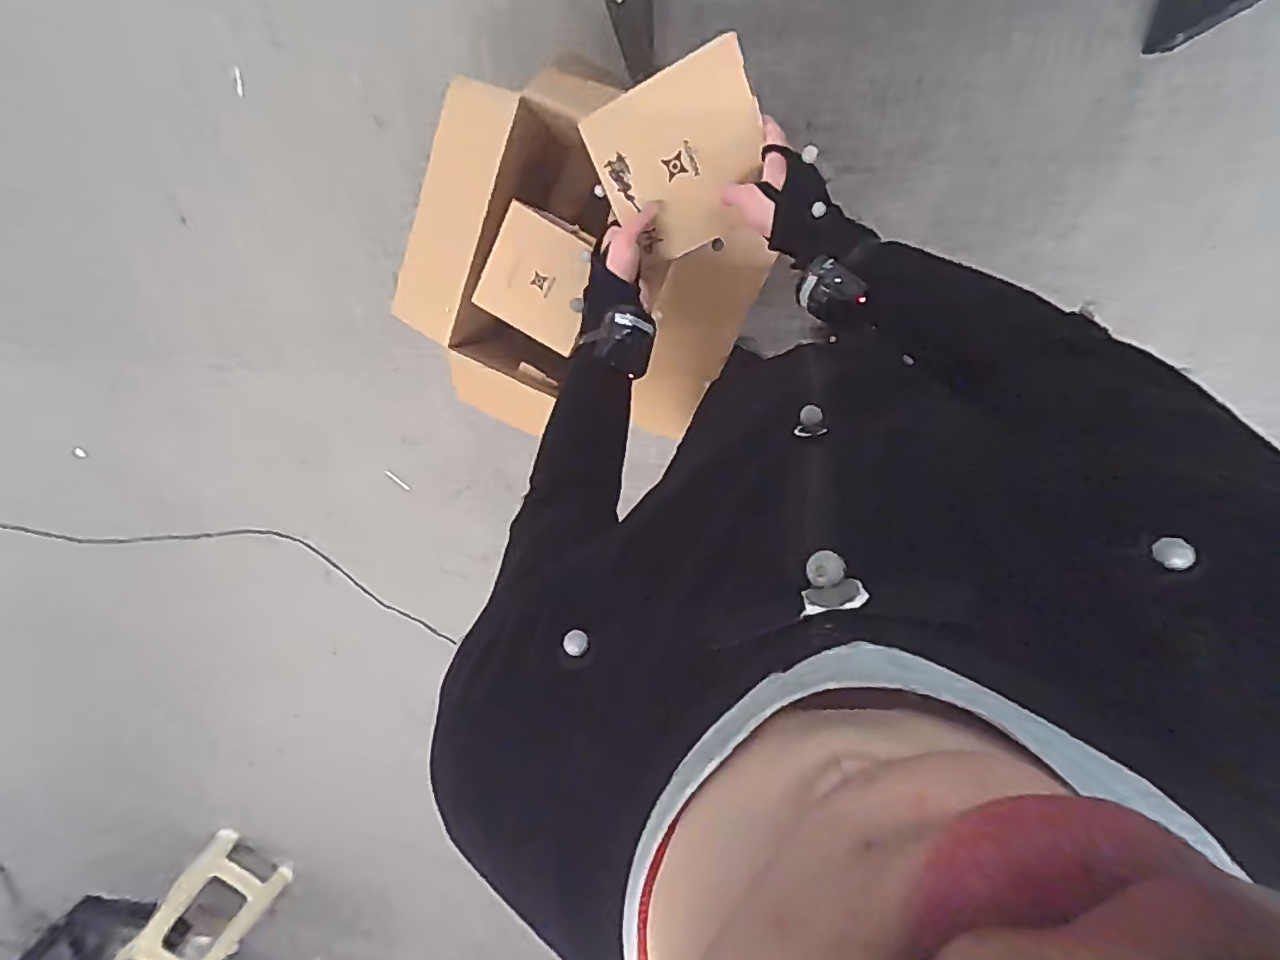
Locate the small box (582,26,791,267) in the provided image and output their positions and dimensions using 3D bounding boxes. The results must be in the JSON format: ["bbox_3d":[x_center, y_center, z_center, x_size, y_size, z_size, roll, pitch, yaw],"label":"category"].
[{"bbox_3d":[0.058,-0.368,0.628,0.179,0.176,0.168,-19,111,17],"label":"small box"}]
